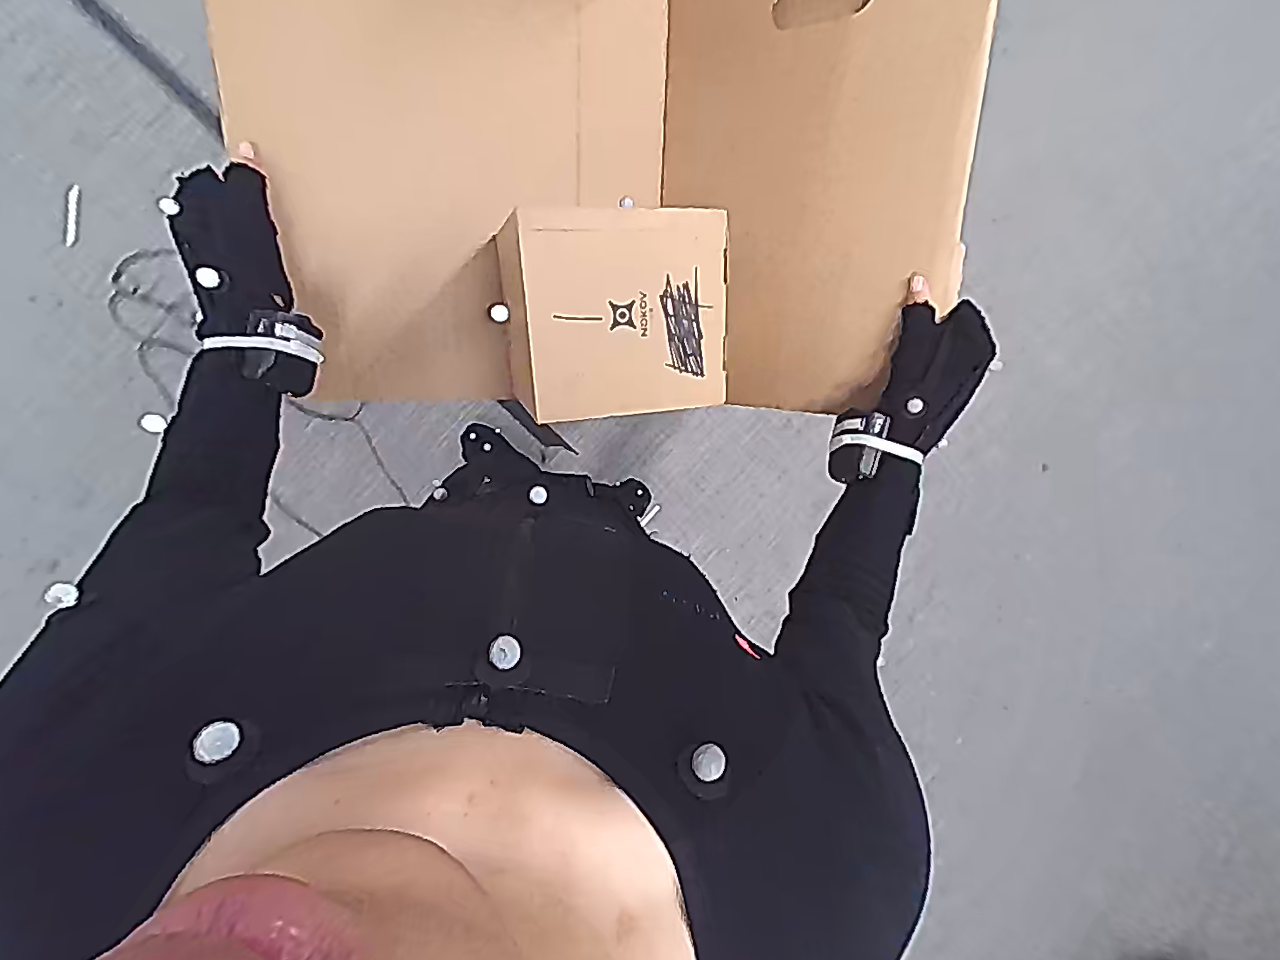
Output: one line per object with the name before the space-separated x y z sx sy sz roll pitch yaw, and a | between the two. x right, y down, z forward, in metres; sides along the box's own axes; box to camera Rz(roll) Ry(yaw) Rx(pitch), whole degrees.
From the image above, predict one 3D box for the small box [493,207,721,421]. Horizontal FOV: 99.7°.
small box | -0.038 -0.161 0.523 0.179 0.176 0.168 -9 109 -17
